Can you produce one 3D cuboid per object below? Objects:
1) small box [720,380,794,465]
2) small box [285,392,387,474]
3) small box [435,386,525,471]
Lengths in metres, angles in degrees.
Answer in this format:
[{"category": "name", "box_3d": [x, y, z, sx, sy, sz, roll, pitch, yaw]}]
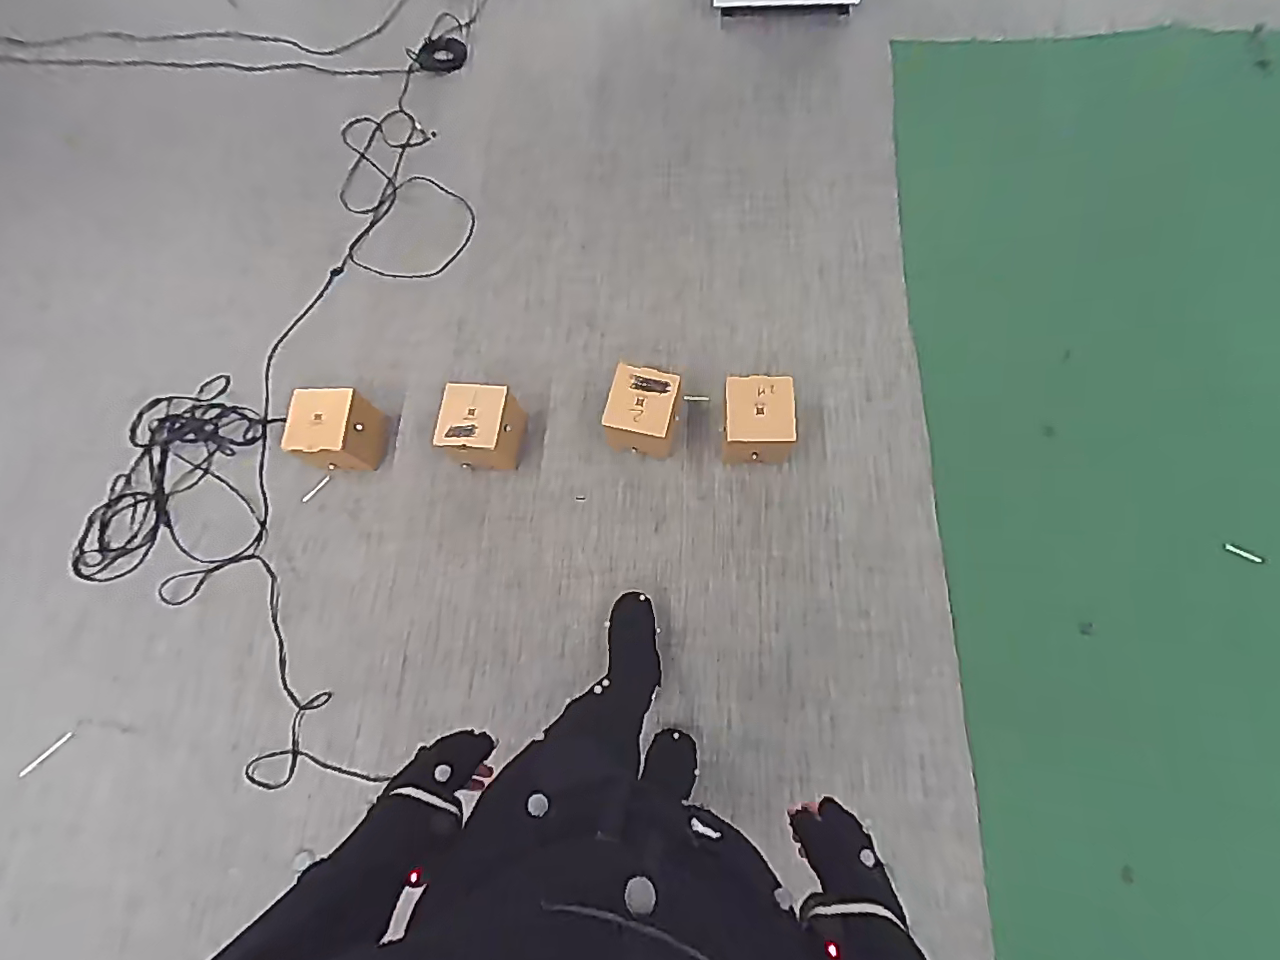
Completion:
[{"category": "small box", "box_3d": [0.298, -0.142, 1.396, 0.168, 0.176, 0.179, 1, 72, 4]}, {"category": "small box", "box_3d": [-0.821, -0.126, 1.480, 0.168, 0.176, 0.179, 0, 73, 5]}, {"category": "small box", "box_3d": [-0.419, -0.131, 1.447, 0.168, 0.176, 0.179, 4, 72, 7]}]
